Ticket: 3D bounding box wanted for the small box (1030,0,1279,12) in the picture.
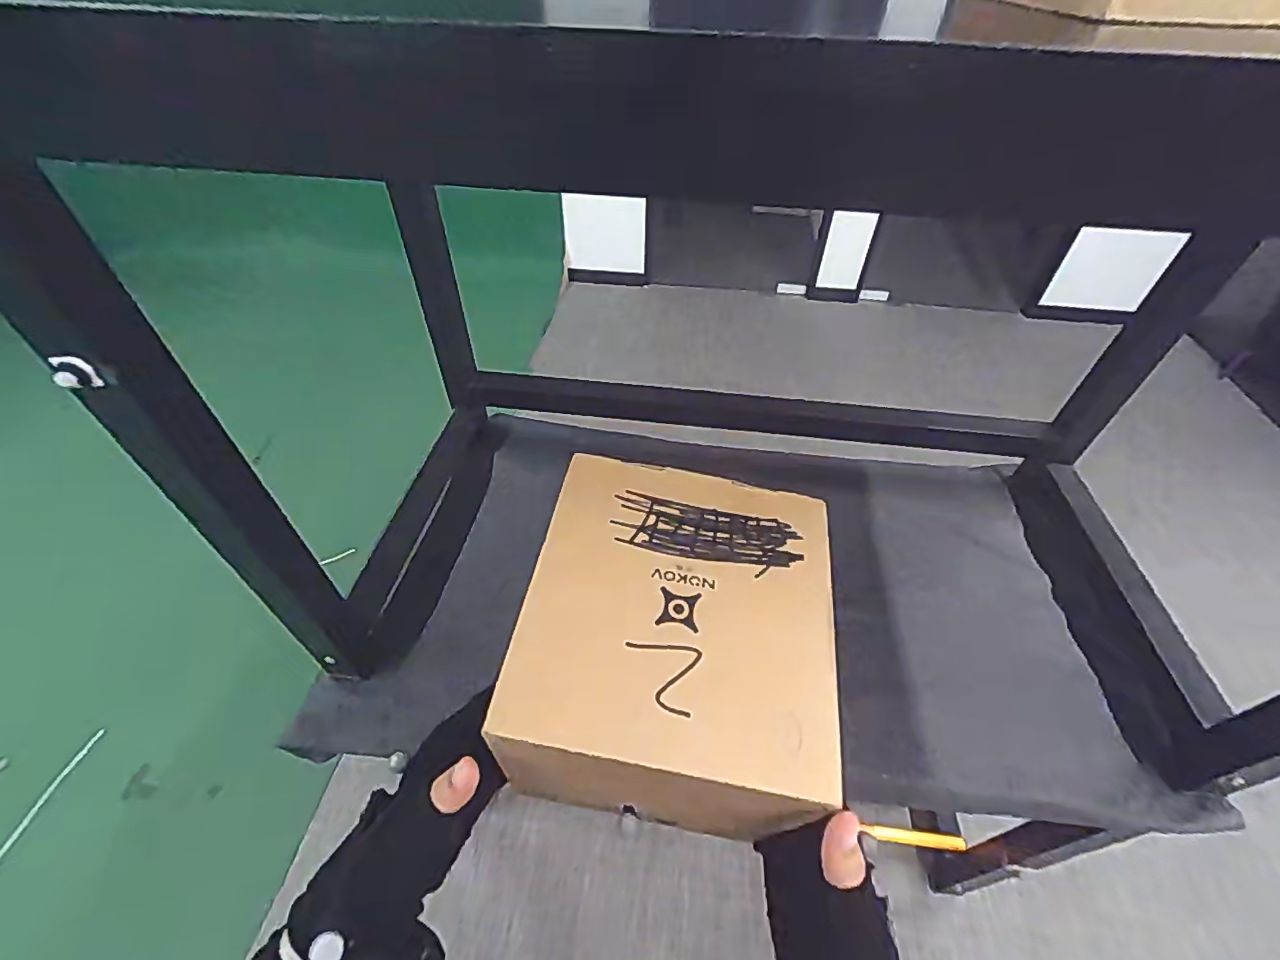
[{"bbox_3d":[0.297,-0.325,0.241,0.168,0.176,0.179,3,45,1],"label":"small box"}]
